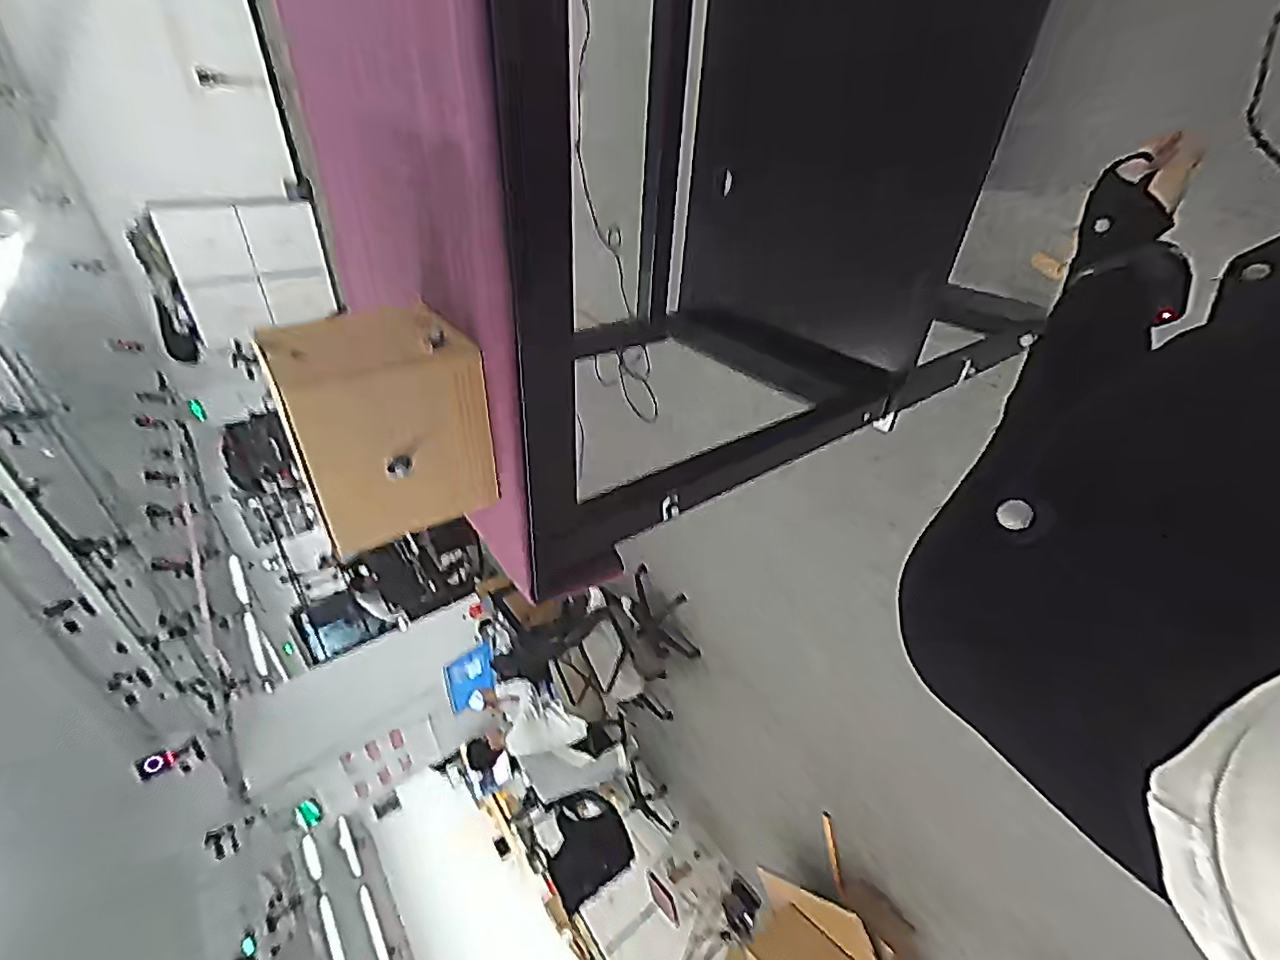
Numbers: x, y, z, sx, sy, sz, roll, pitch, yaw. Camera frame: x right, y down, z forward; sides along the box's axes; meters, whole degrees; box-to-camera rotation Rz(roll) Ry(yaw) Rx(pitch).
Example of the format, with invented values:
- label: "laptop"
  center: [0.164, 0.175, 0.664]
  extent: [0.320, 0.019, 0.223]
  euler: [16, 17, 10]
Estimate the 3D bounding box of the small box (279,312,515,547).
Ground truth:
- label: "small box"
  center: [-0.249, -0.067, 0.575]
  extent: [0.168, 0.176, 0.179]
  euler: [39, 139, 42]
